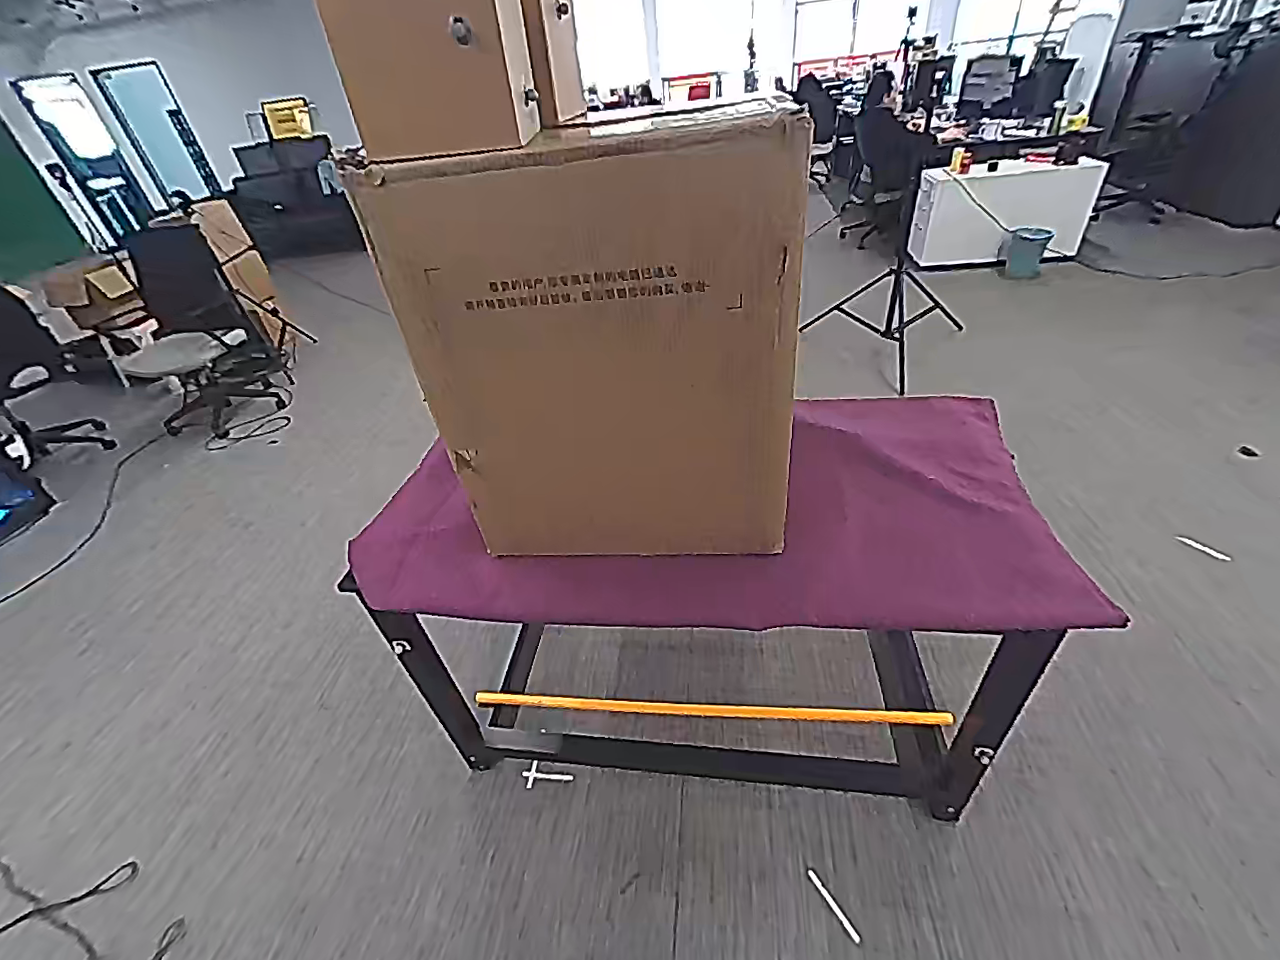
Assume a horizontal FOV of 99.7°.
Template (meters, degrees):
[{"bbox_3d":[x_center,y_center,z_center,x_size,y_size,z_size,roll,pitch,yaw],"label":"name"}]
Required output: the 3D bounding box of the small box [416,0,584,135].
[{"bbox_3d":[-0.185,-0.606,0.780,0.168,0.176,0.179,2,38,10],"label":"small box"}]
